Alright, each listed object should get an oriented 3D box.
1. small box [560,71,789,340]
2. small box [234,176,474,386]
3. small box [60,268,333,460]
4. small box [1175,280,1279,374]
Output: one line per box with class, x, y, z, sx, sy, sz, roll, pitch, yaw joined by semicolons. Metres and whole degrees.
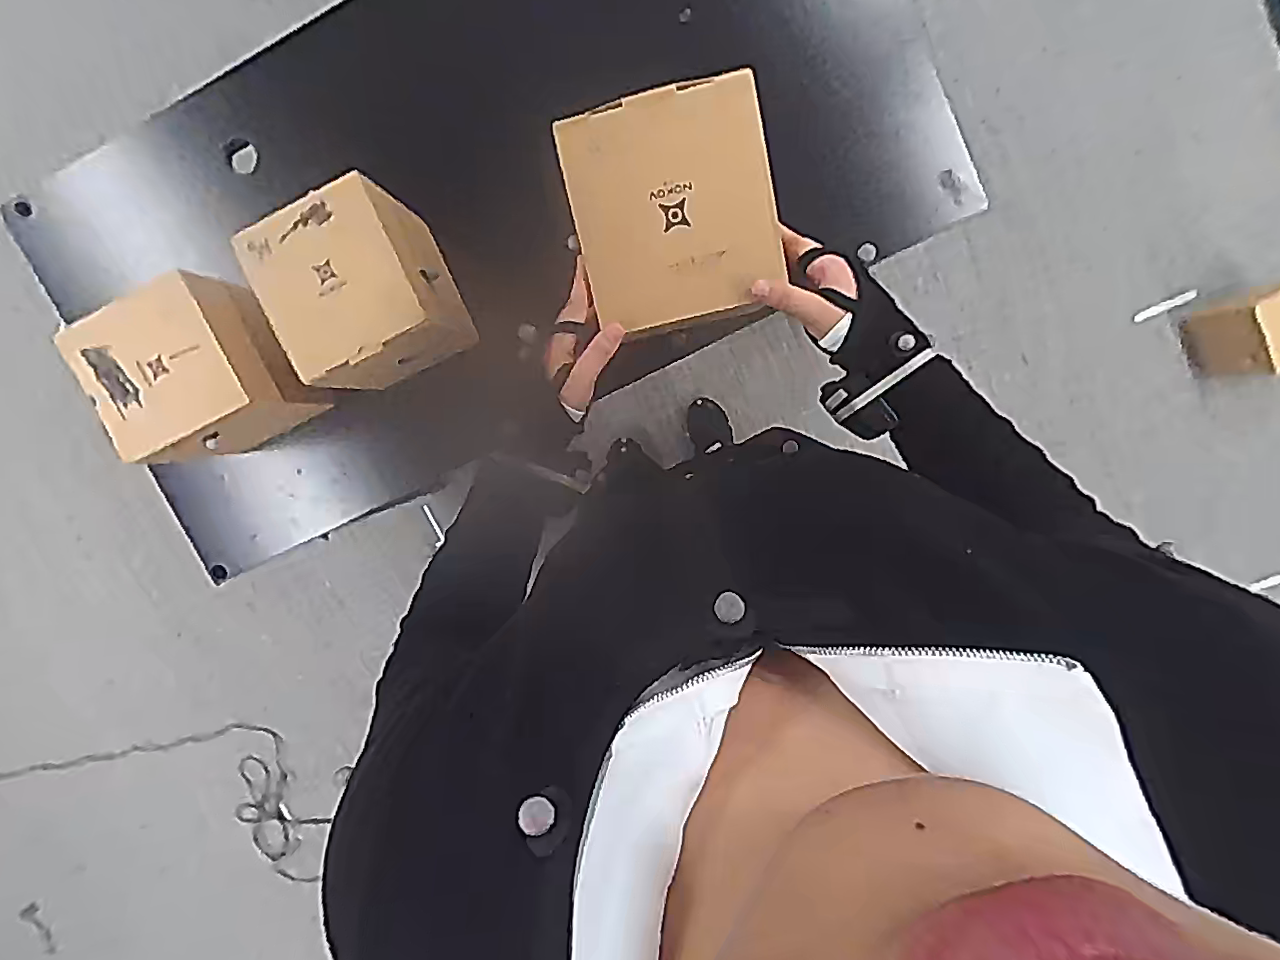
small box;0.032;-0.242;0.527;0.168;0.176;0.179;-13;103;5
small box;-0.334;-0.229;0.673;0.168;0.176;0.179;-24;96;5
small box;-0.547;-0.139;0.694;0.179;0.176;0.168;-25;96;5
small box;1.463;-0.365;1.297;0.168;0.176;0.179;-26;95;6
